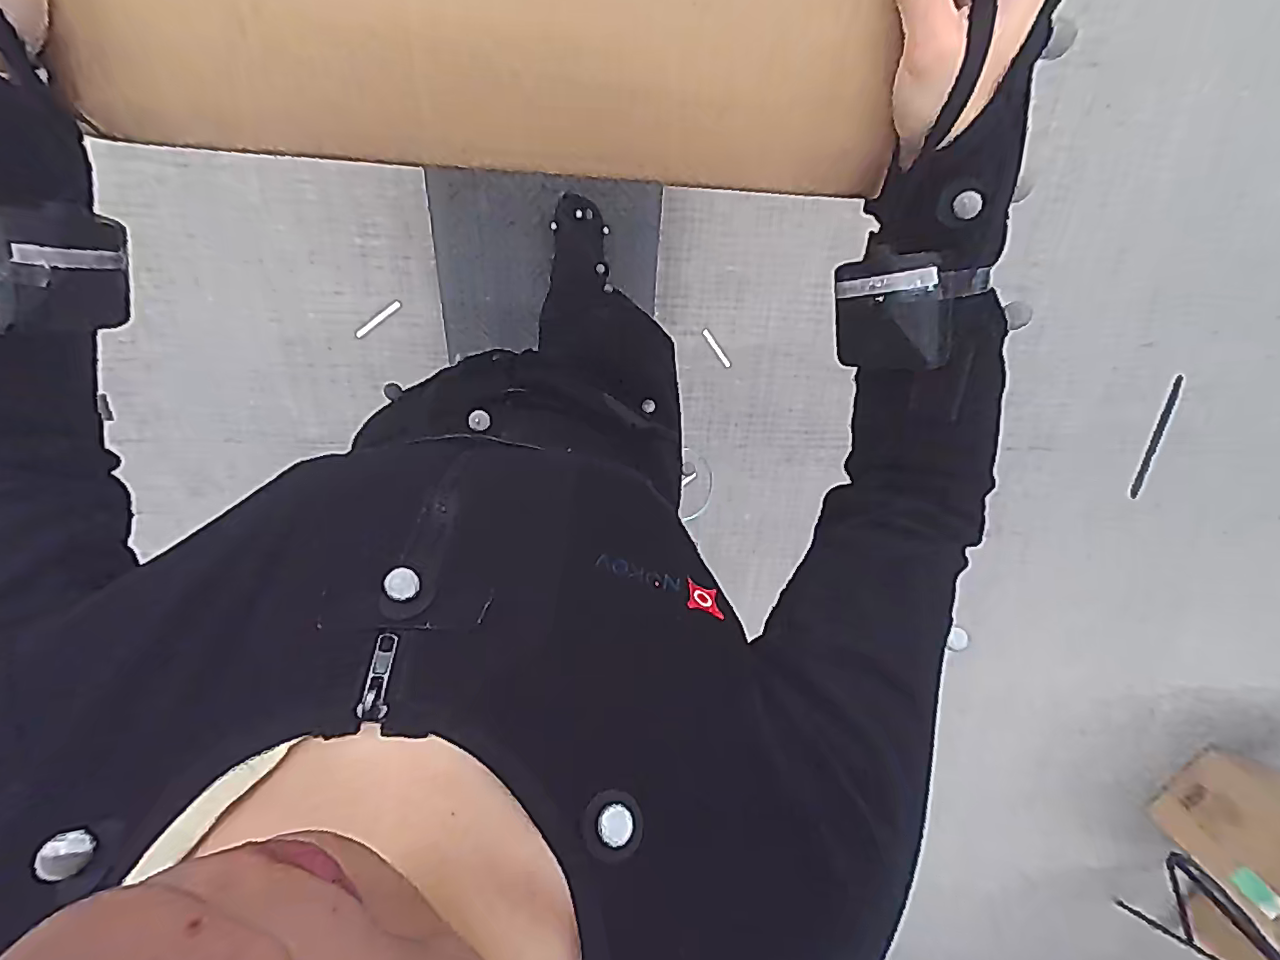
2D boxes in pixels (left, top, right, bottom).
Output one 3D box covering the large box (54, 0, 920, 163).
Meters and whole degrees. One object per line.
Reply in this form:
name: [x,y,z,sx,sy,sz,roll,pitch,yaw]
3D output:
large box: [-0.067,-0.388,0.314,0.408,0.320,0.320,1,127,-5]
